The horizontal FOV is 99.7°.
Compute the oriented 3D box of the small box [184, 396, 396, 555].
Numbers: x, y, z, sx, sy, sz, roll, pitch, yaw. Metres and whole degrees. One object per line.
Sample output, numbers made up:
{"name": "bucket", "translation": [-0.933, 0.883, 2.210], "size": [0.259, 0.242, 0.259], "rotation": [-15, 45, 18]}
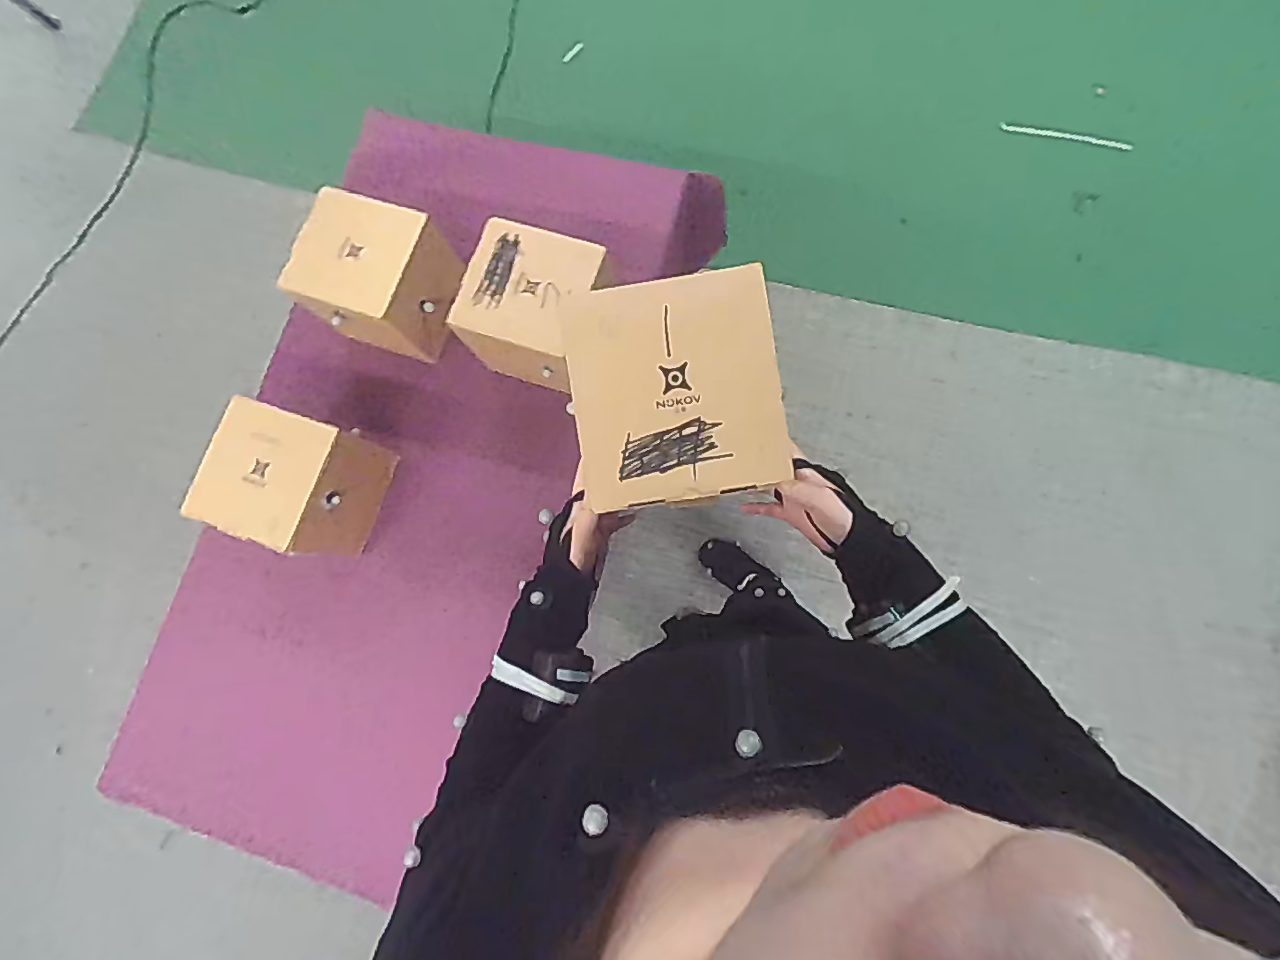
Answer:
{"name": "small box", "translation": [-0.495, 0.004, 0.795], "size": [0.168, 0.176, 0.179], "rotation": [18, 81, 8]}

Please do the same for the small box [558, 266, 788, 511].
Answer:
{"name": "small box", "translation": [0.030, -0.072, 0.504], "size": [0.168, 0.176, 0.179], "rotation": [-8, 90, 2]}

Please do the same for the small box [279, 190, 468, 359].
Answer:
{"name": "small box", "translation": [-0.397, -0.306, 0.840], "size": [0.179, 0.176, 0.168], "rotation": [18, 83, 10]}
